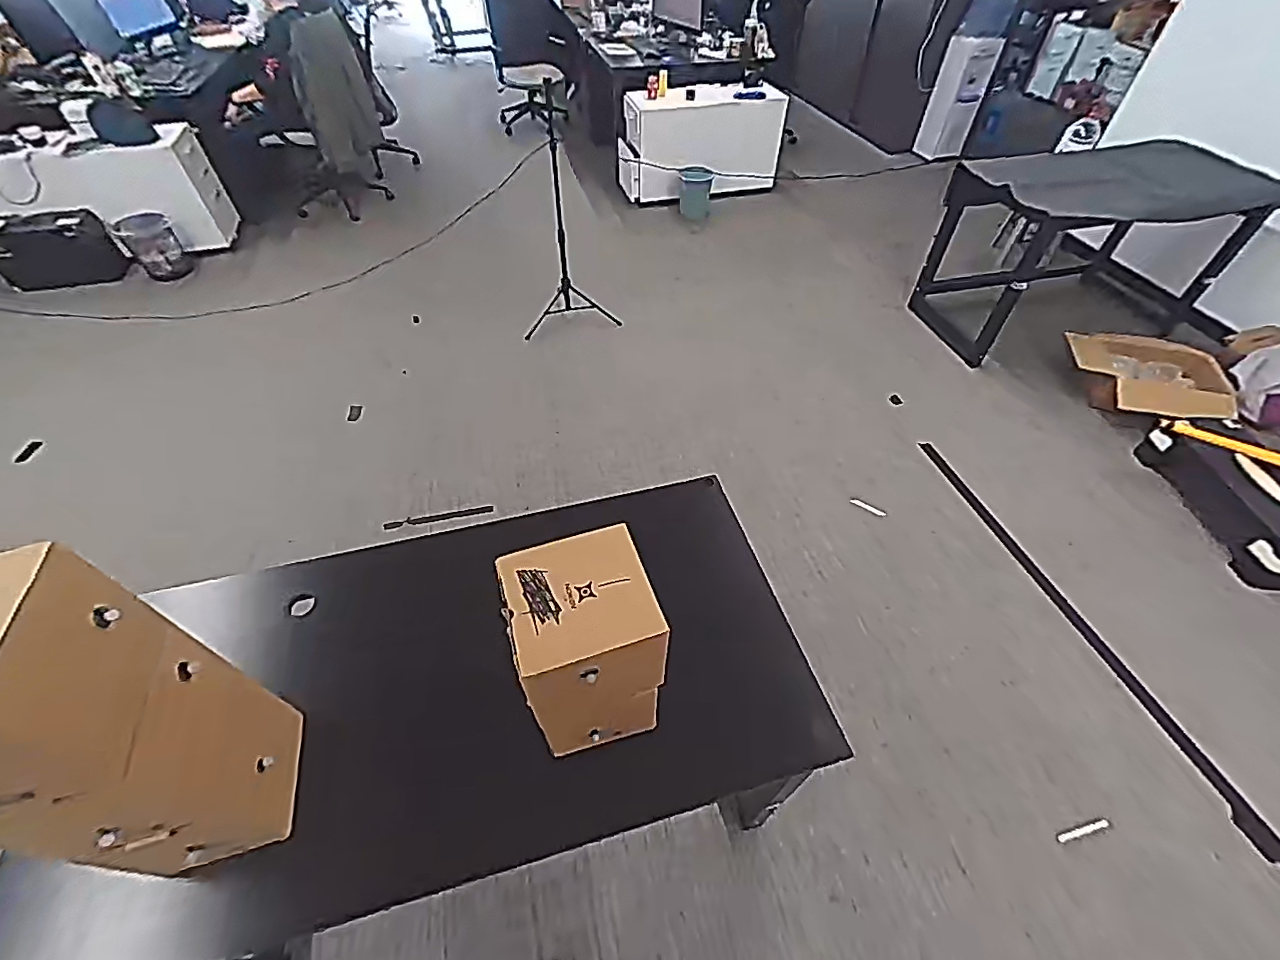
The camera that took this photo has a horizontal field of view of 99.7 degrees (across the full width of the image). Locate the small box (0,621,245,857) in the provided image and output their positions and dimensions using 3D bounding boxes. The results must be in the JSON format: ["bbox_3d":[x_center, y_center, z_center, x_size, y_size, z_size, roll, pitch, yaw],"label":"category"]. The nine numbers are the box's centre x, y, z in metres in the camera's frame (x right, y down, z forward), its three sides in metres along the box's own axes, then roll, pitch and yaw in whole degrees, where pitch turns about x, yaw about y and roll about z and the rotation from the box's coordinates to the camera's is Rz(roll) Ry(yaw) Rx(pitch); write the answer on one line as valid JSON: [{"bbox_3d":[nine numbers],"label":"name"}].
[{"bbox_3d":[-0.587,0.292,0.611,0.168,0.176,0.179,-13,50,-10],"label":"small box"}]

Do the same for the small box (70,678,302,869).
[{"bbox_3d":[-0.588,0.402,0.733,0.168,0.176,0.179,-13,51,-12],"label":"small box"}]

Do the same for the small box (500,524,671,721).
[{"bbox_3d":[-0.070,0.189,0.706,0.179,0.176,0.168,-14,51,-13],"label":"small box"}]

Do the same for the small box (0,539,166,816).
[{"bbox_3d":[-0.585,0.185,0.488,0.168,0.176,0.179,-13,51,-10],"label":"small box"}]

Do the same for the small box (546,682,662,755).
[{"bbox_3d":[-0.072,0.293,0.834,0.168,0.176,0.179,-12,50,-11],"label":"small box"}]
